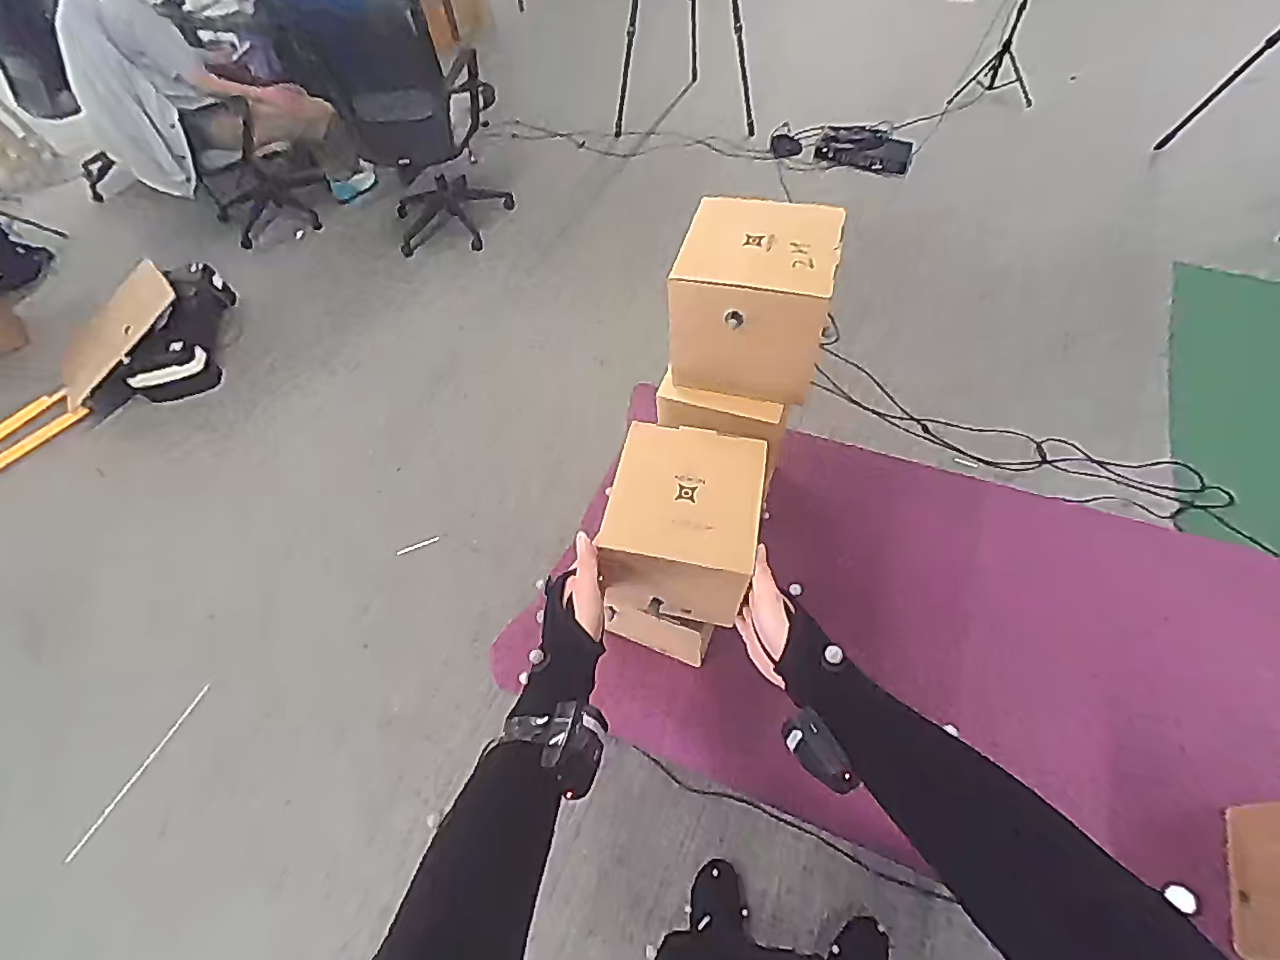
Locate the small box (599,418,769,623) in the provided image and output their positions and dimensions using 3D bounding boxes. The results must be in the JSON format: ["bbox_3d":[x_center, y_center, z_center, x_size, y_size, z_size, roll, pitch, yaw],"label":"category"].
[{"bbox_3d":[0.054,0.054,0.664,0.168,0.176,0.179,10,58,8],"label":"small box"}]

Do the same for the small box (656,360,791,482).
[{"bbox_3d":[0.133,-0.114,0.806,0.168,0.176,0.179,16,59,15],"label":"small box"}]

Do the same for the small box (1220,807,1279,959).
[{"bbox_3d":[0.778,0.462,0.563,0.179,0.176,0.168,21,60,18],"label":"small box"}]

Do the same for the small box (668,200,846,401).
[{"bbox_3d":[0.141,-0.220,0.679,0.179,0.176,0.168,13,59,12],"label":"small box"}]
